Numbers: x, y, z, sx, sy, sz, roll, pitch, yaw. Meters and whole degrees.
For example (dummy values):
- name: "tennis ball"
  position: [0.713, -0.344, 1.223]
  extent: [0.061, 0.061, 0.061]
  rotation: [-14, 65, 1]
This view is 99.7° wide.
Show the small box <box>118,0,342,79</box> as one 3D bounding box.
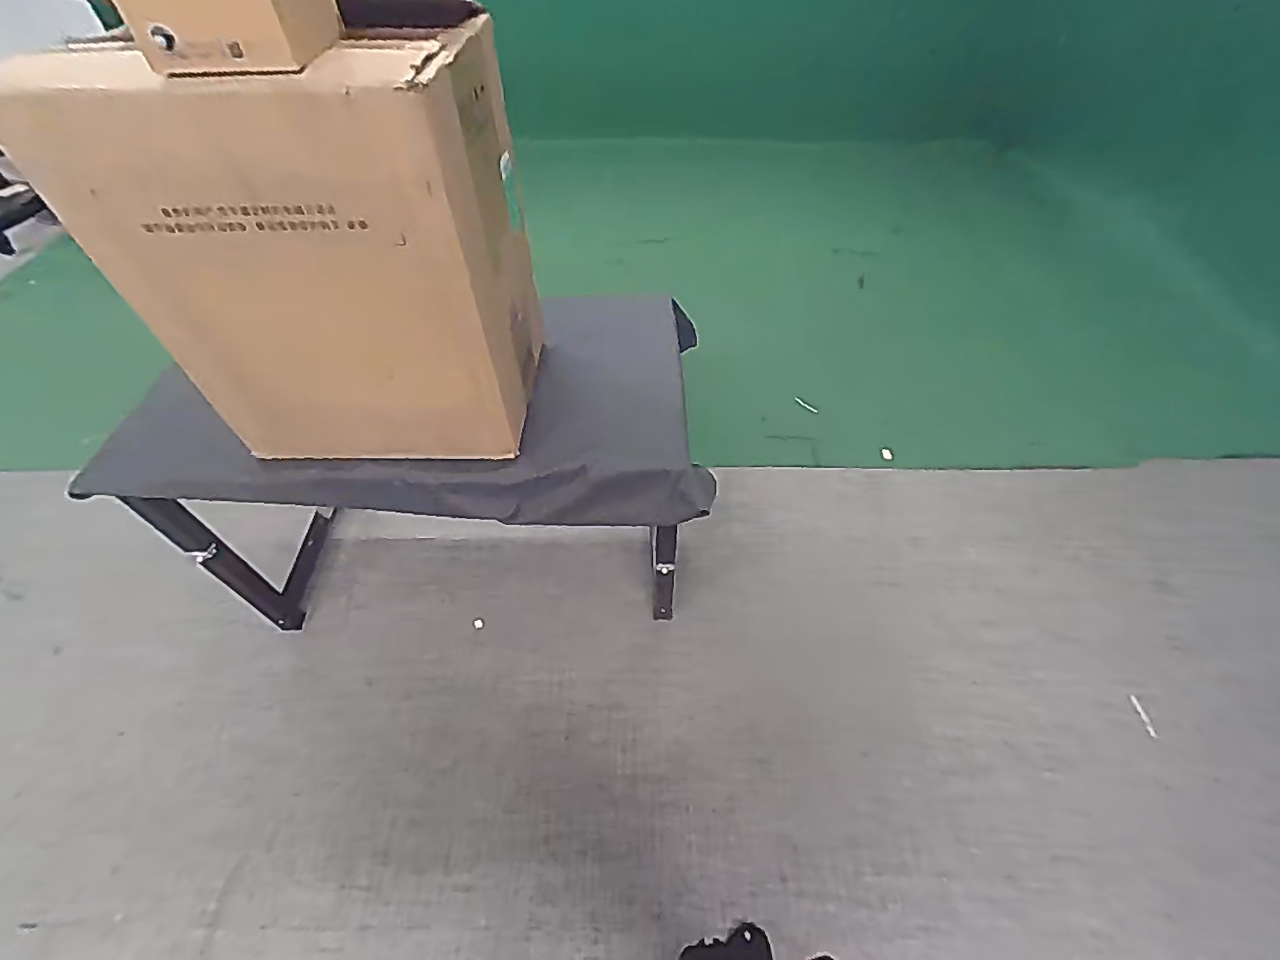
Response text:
- name: "small box"
  position: [-0.471, -0.573, 0.609]
  extent: [0.168, 0.176, 0.179]
  rotation: [-1, 50, -1]
